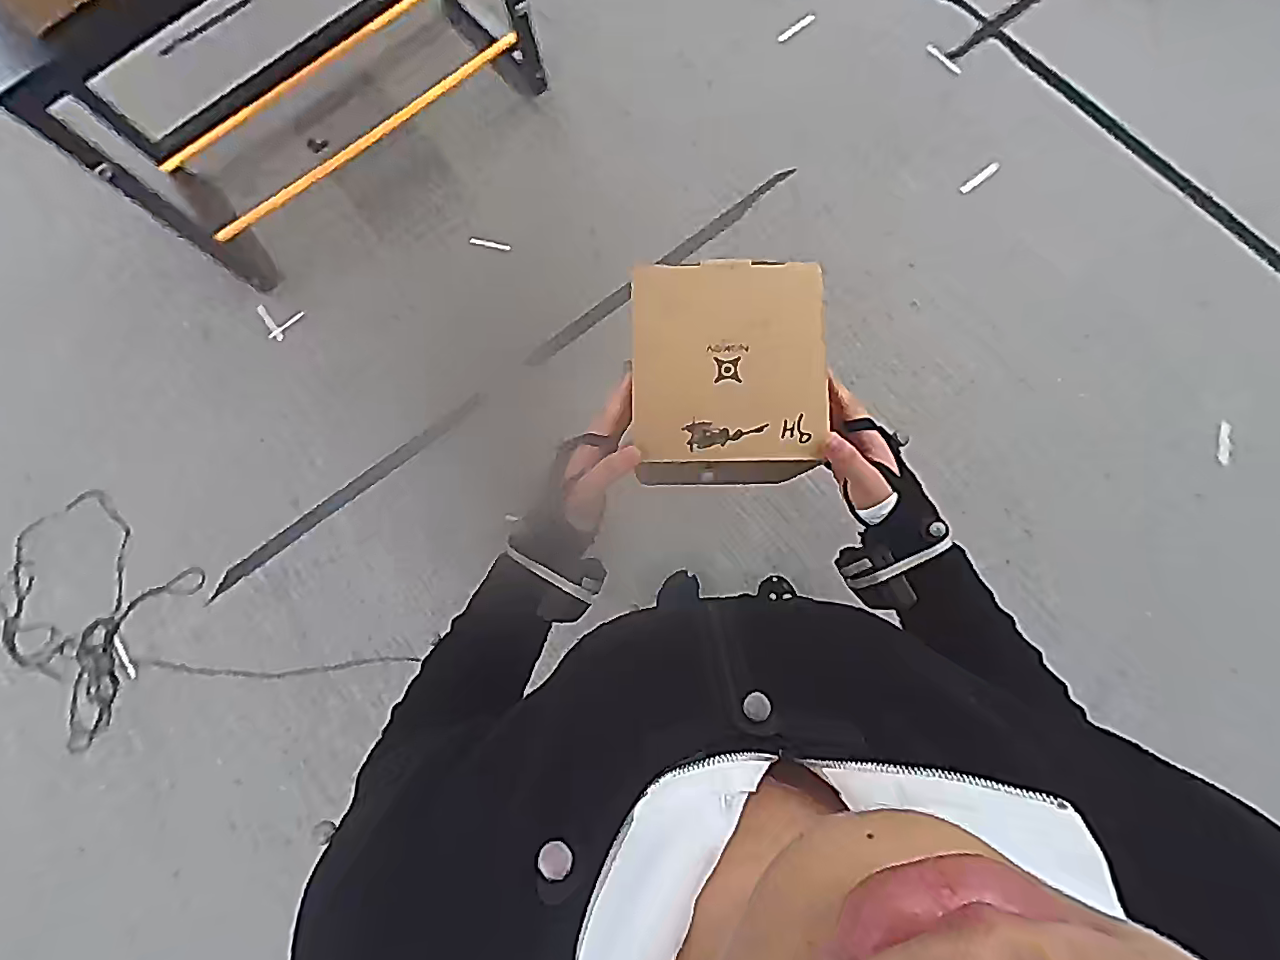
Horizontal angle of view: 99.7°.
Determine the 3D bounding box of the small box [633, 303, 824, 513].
[{"bbox_3d":[0.076,-0.061,0.551,0.168,0.176,0.179,-1,83,1],"label":"small box"}]
